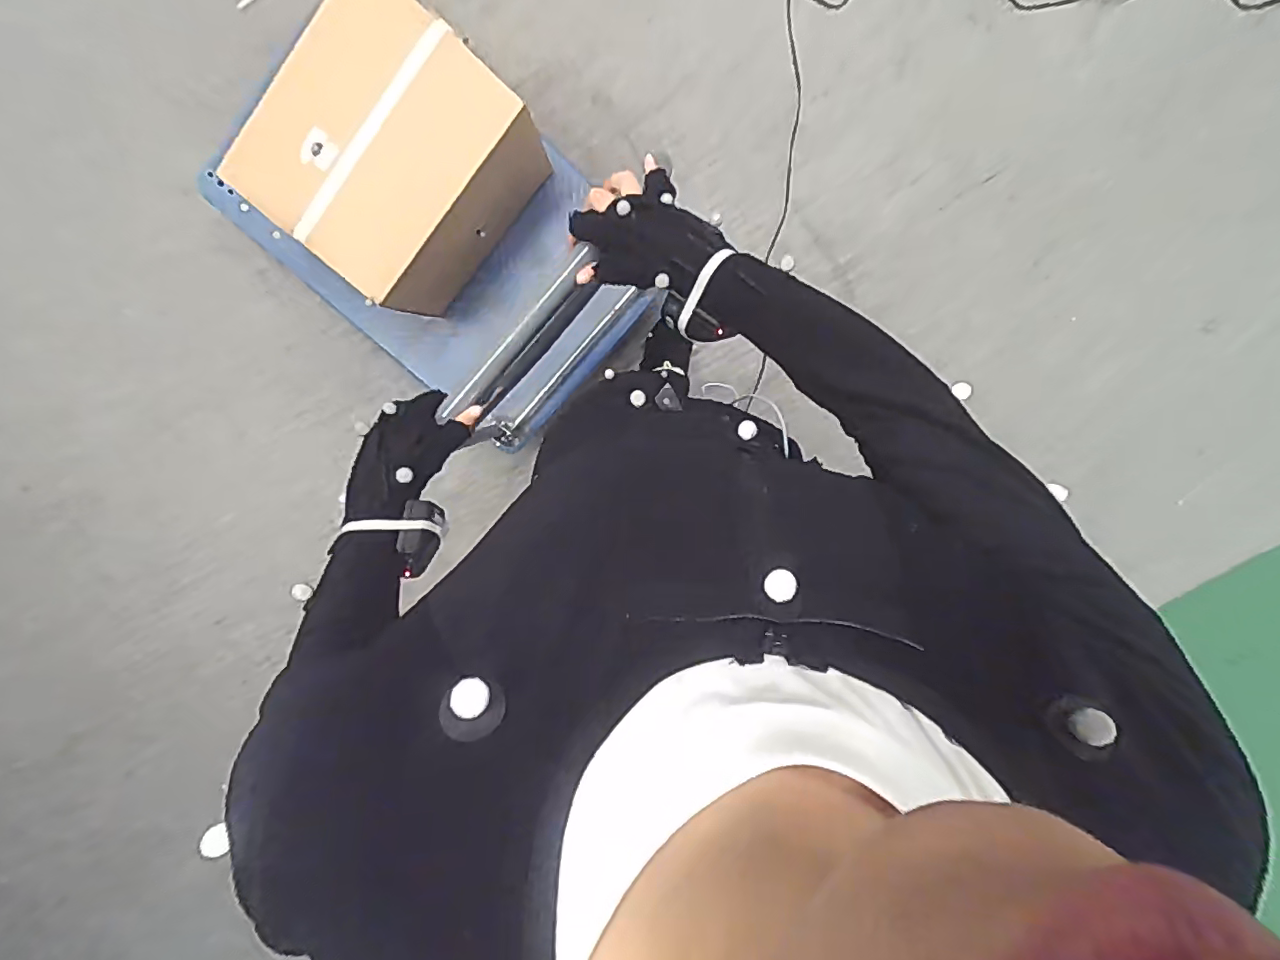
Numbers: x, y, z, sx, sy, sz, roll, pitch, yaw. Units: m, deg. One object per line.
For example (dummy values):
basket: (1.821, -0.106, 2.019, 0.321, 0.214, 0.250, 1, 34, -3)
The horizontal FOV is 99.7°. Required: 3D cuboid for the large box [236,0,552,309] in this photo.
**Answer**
large box: (-0.420, -0.586, 1.012, 0.320, 0.320, 0.408, 40, 101, -8)
